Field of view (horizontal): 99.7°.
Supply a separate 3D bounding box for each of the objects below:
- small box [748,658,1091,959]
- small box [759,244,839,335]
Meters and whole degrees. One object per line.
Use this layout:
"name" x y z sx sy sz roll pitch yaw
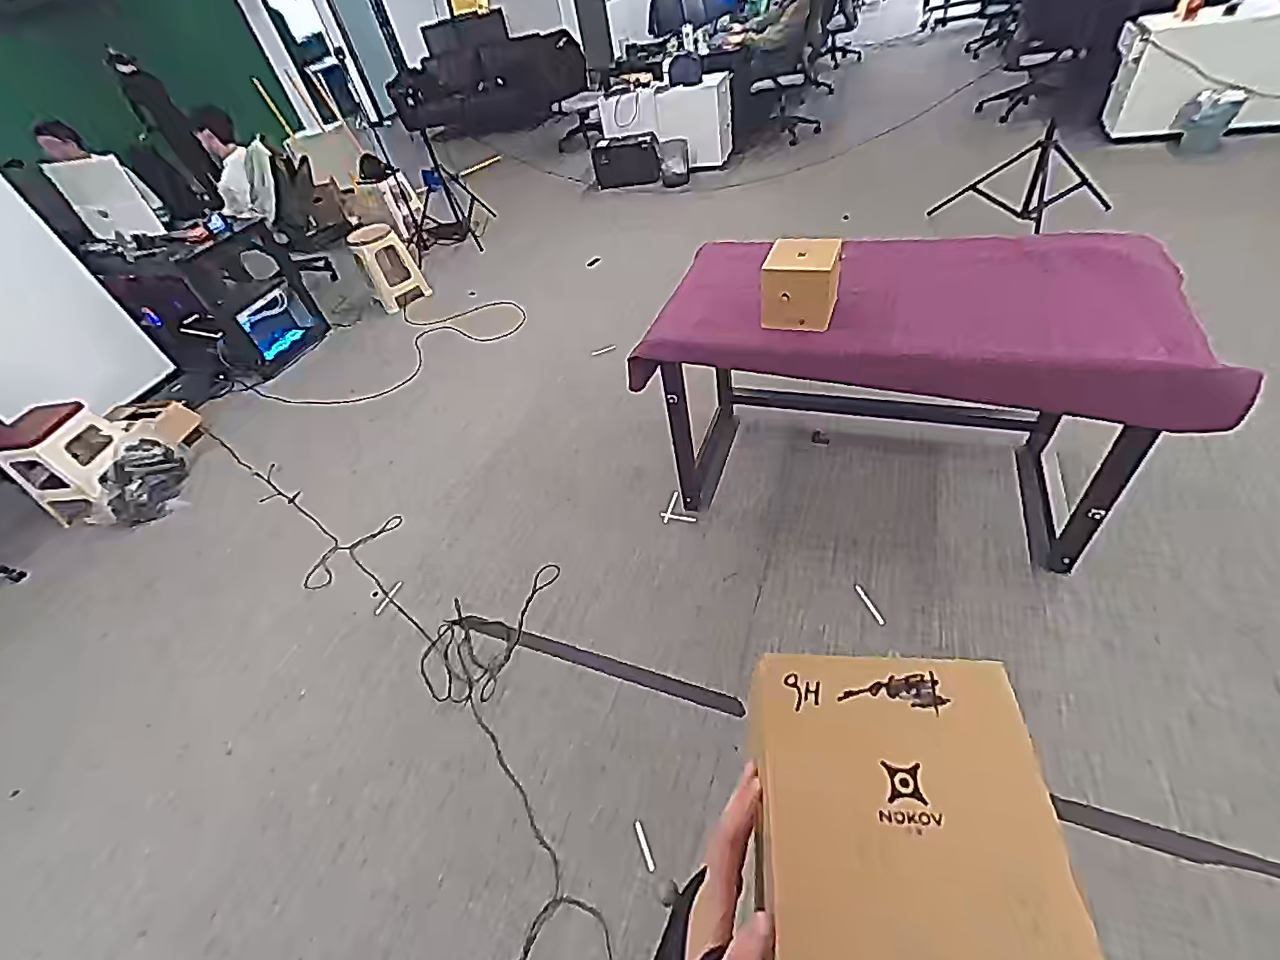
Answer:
"small box" 0.170 0.247 0.396 0.168 0.176 0.179 0 53 7
"small box" 0.413 -0.493 1.402 0.168 0.176 0.179 10 48 22
